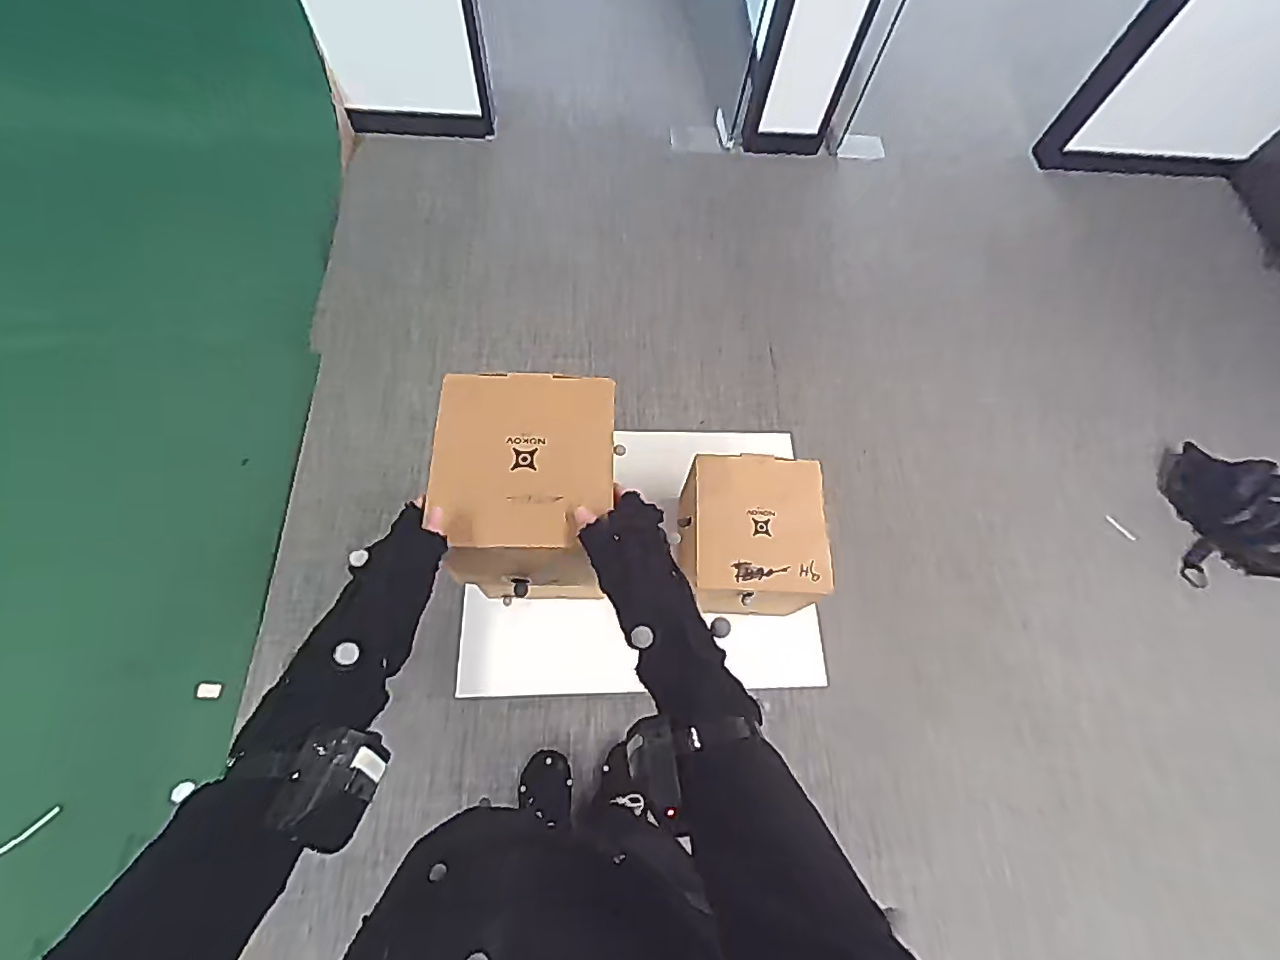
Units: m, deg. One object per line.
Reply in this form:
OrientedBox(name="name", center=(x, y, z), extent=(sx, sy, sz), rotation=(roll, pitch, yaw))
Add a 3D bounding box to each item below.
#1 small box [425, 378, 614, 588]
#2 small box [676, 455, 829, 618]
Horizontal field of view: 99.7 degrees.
OrientedBox(name="small box", center=(-0.113, 0.011, 0.576), extent=(0.168, 0.176, 0.179), rotation=(0, 68, -4))
OrientedBox(name="small box", center=(0.141, 0.084, 0.744), extent=(0.168, 0.176, 0.179), rotation=(3, 67, -2))
